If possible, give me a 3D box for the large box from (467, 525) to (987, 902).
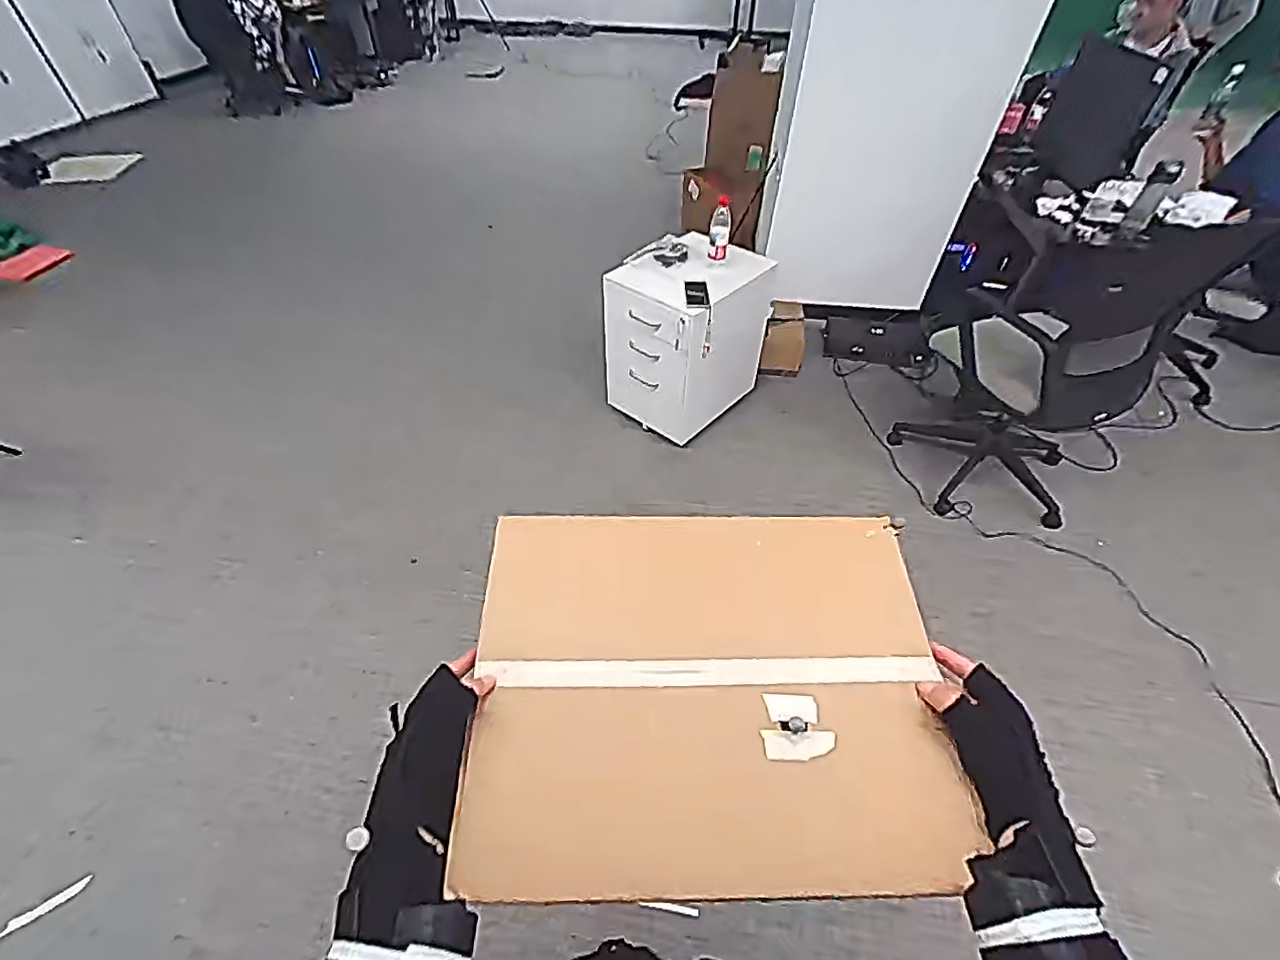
[{"bbox_3d":[0.059,0.258,0.607,0.408,0.320,0.320,0,57,-2],"label":"large box"}]
